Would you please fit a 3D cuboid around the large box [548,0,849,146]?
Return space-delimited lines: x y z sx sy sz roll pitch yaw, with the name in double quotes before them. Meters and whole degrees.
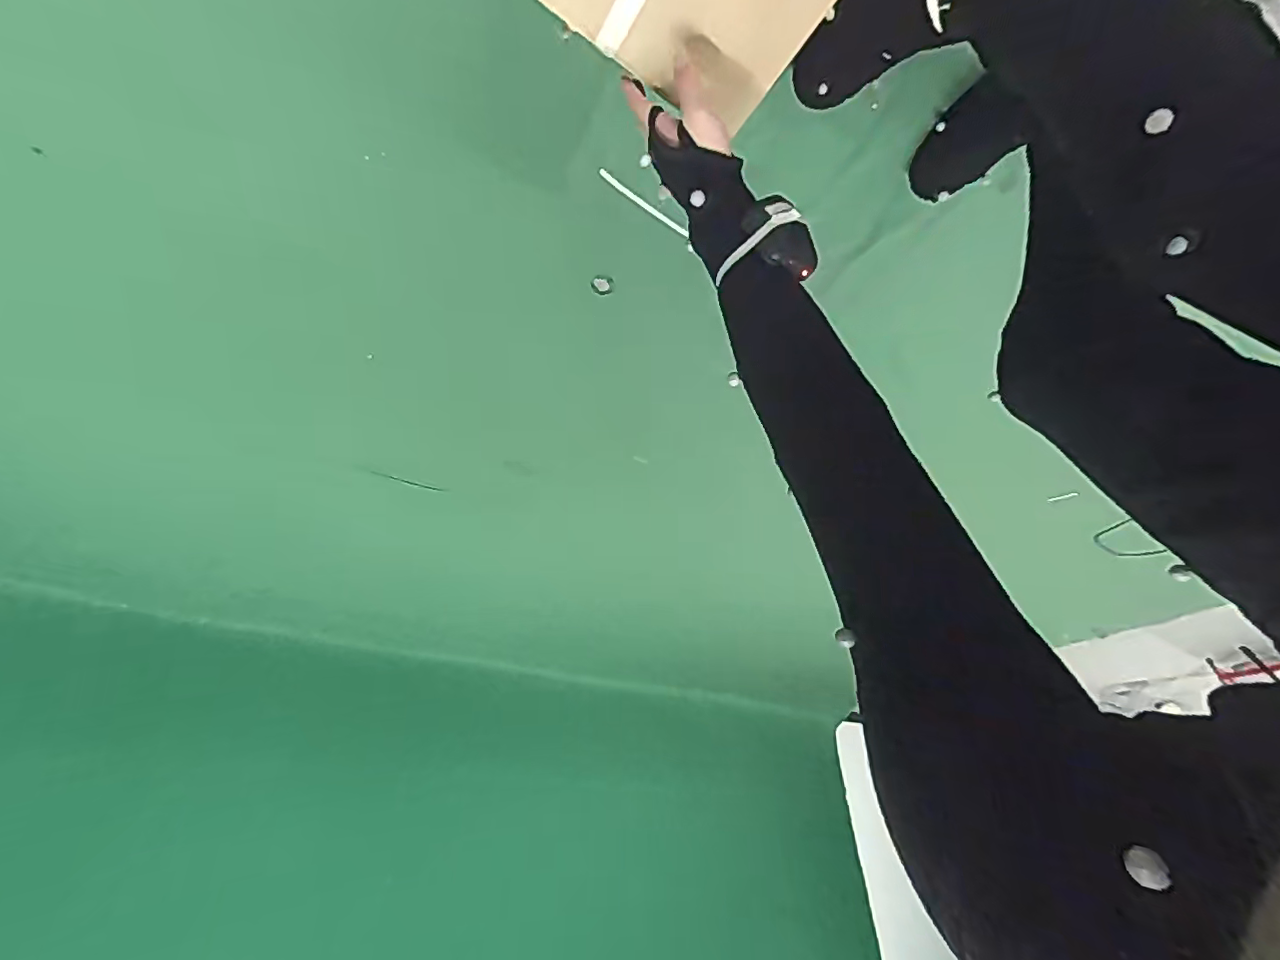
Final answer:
"large box" 0.086 -0.627 0.479 0.320 0.320 0.408 20 138 -29
